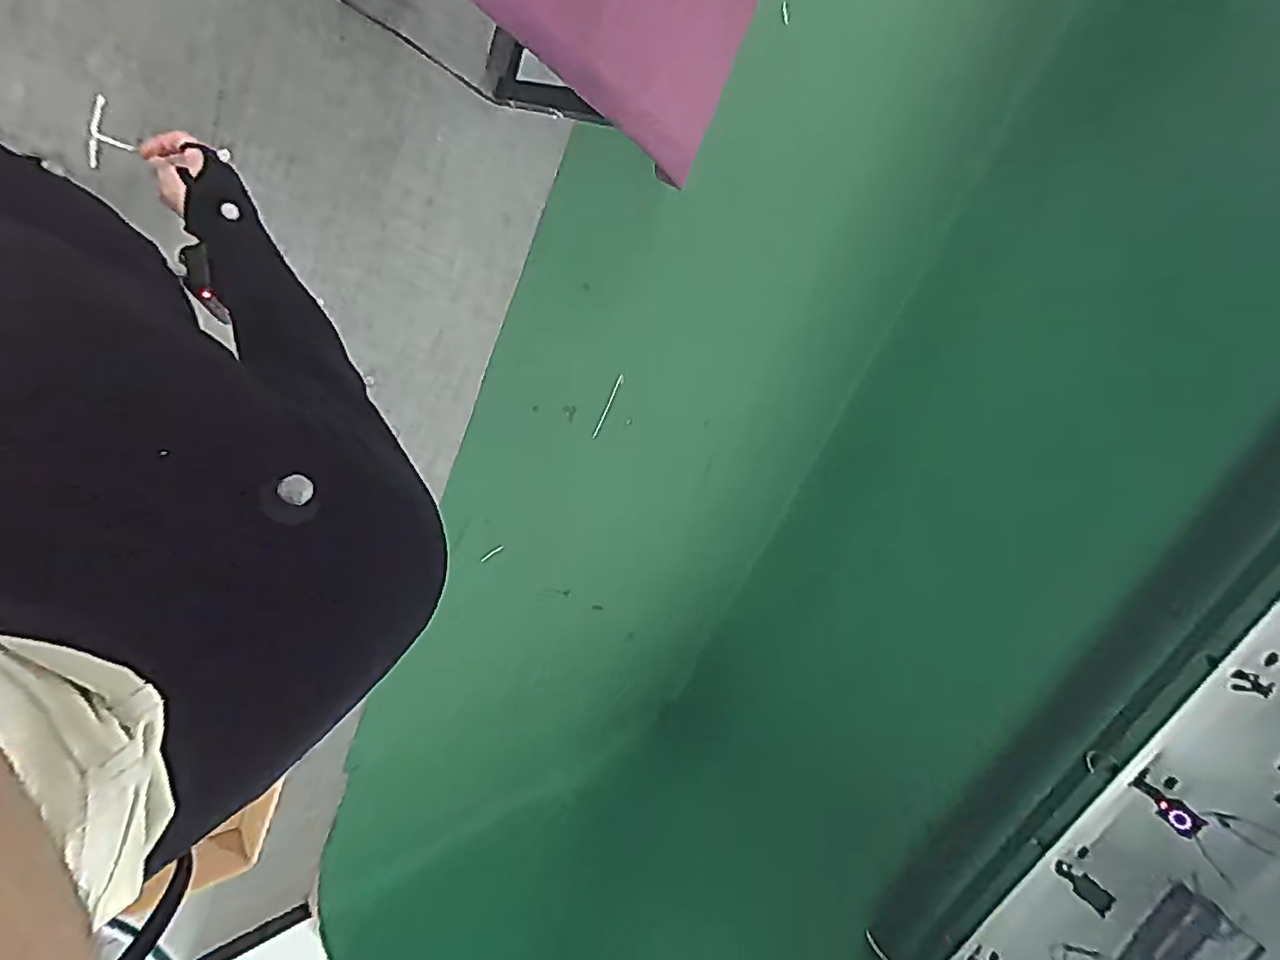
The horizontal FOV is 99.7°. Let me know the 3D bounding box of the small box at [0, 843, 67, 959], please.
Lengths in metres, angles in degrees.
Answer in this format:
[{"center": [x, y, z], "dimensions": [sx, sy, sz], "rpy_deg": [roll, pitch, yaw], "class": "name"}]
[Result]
[{"center": [-1.364, 0.937, 1.159], "dimensions": [0.168, 0.176, 0.179], "rpy_deg": [8, 112, -51], "class": "small box"}]
